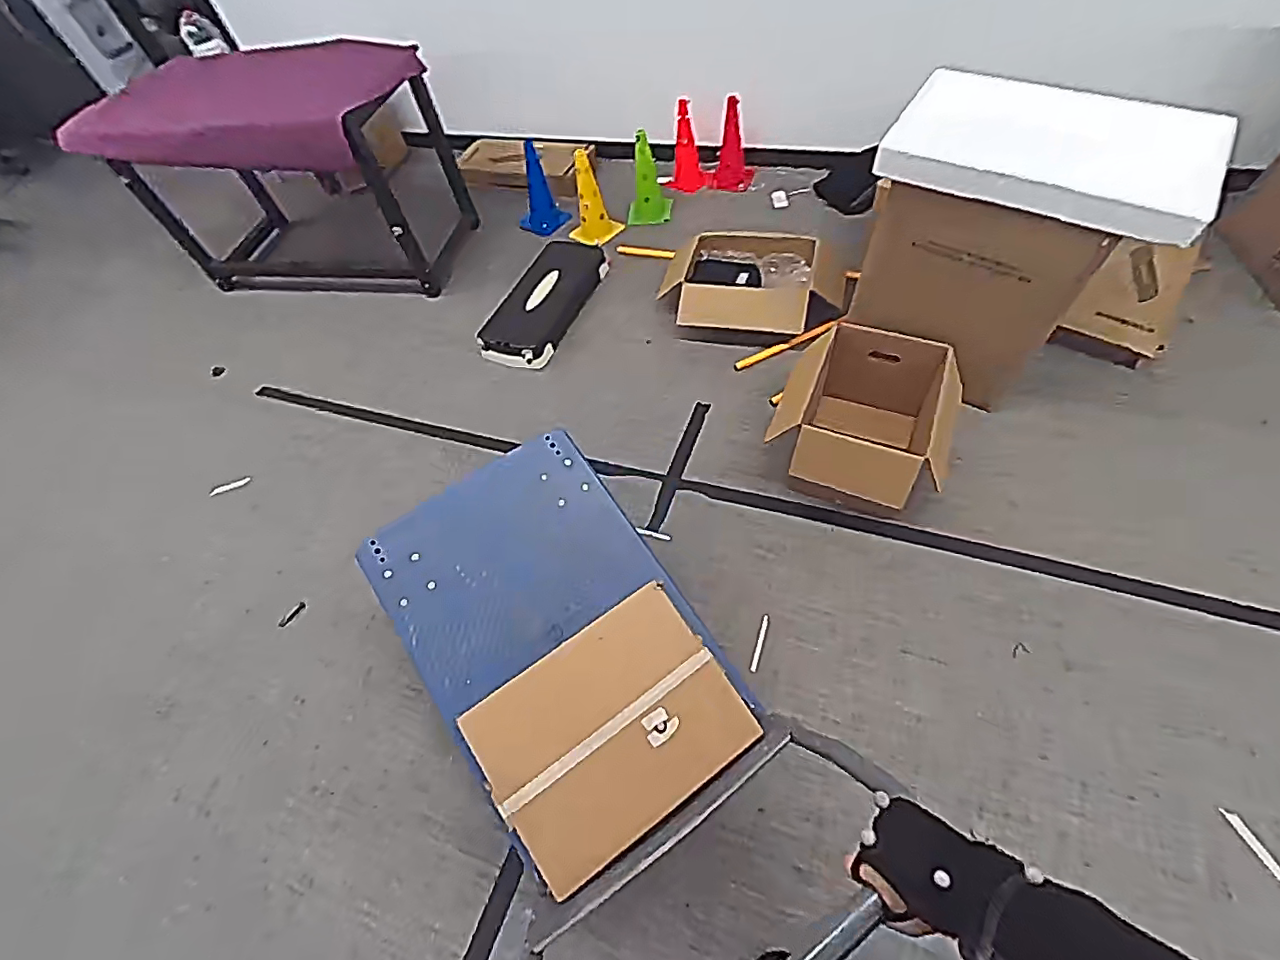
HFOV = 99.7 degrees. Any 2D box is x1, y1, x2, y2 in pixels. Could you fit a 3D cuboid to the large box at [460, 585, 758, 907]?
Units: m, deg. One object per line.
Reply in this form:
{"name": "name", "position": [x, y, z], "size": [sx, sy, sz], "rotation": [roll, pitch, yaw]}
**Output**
{"name": "large box", "position": [-0.057, 0.464, 1.022], "size": [0.408, 0.320, 0.320], "rotation": [-33, 76, -14]}
